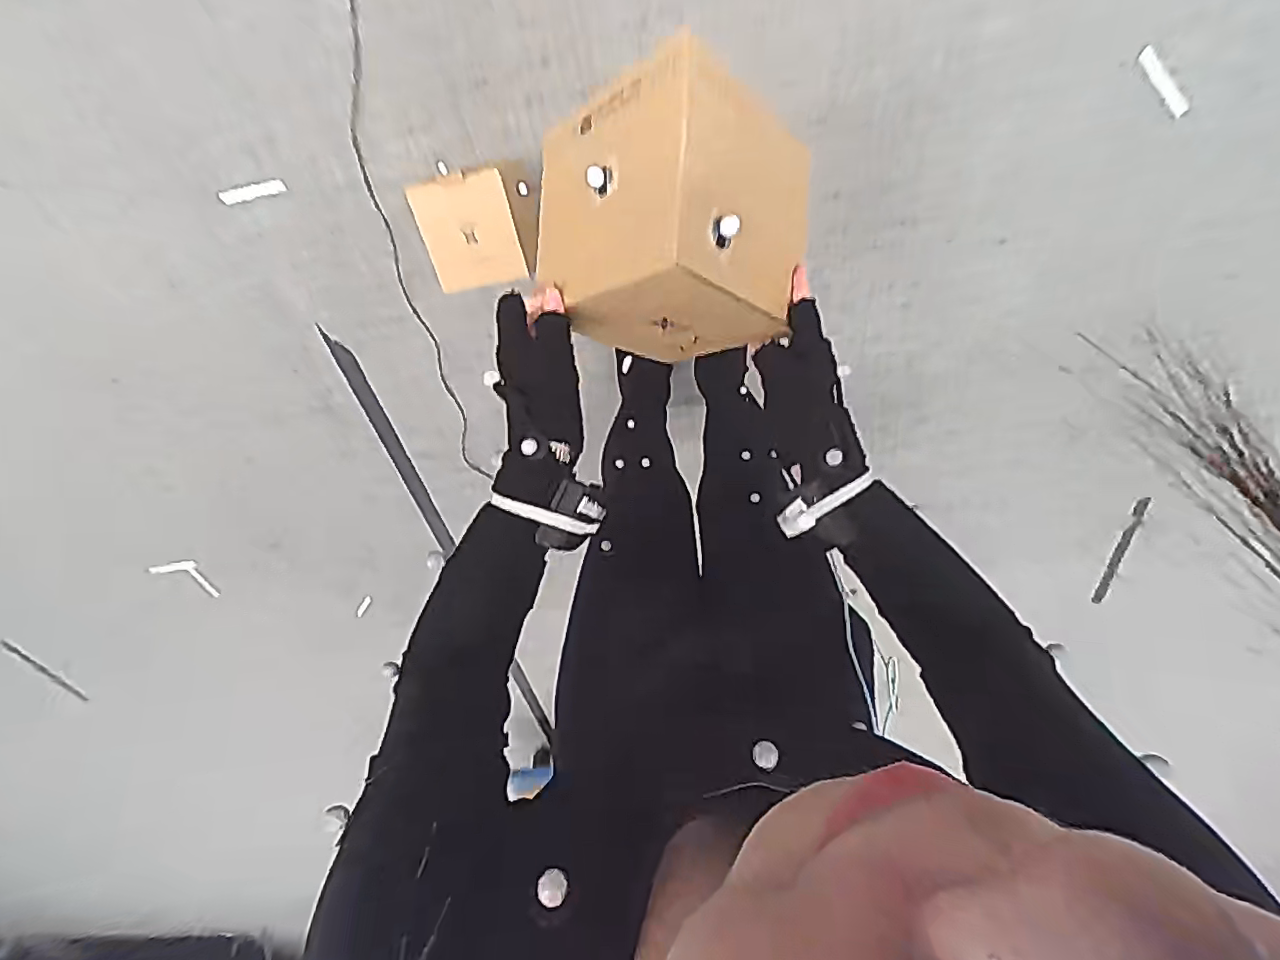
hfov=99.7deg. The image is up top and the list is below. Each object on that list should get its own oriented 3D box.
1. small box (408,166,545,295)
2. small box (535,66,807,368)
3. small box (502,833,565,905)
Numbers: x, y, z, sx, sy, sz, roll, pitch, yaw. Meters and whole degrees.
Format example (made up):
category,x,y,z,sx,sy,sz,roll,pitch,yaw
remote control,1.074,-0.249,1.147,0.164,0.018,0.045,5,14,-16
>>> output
category,x,y,z,sx,sy,sz,roll,pitch,yaw
small box,-0.285,-0.459,0.985,0.168,0.176,0.179,-6,126,8
small box,0.029,-0.208,0.471,0.179,0.176,0.168,4,178,-45
small box,-0.368,1.375,1.914,0.179,0.176,0.168,-2,127,6
